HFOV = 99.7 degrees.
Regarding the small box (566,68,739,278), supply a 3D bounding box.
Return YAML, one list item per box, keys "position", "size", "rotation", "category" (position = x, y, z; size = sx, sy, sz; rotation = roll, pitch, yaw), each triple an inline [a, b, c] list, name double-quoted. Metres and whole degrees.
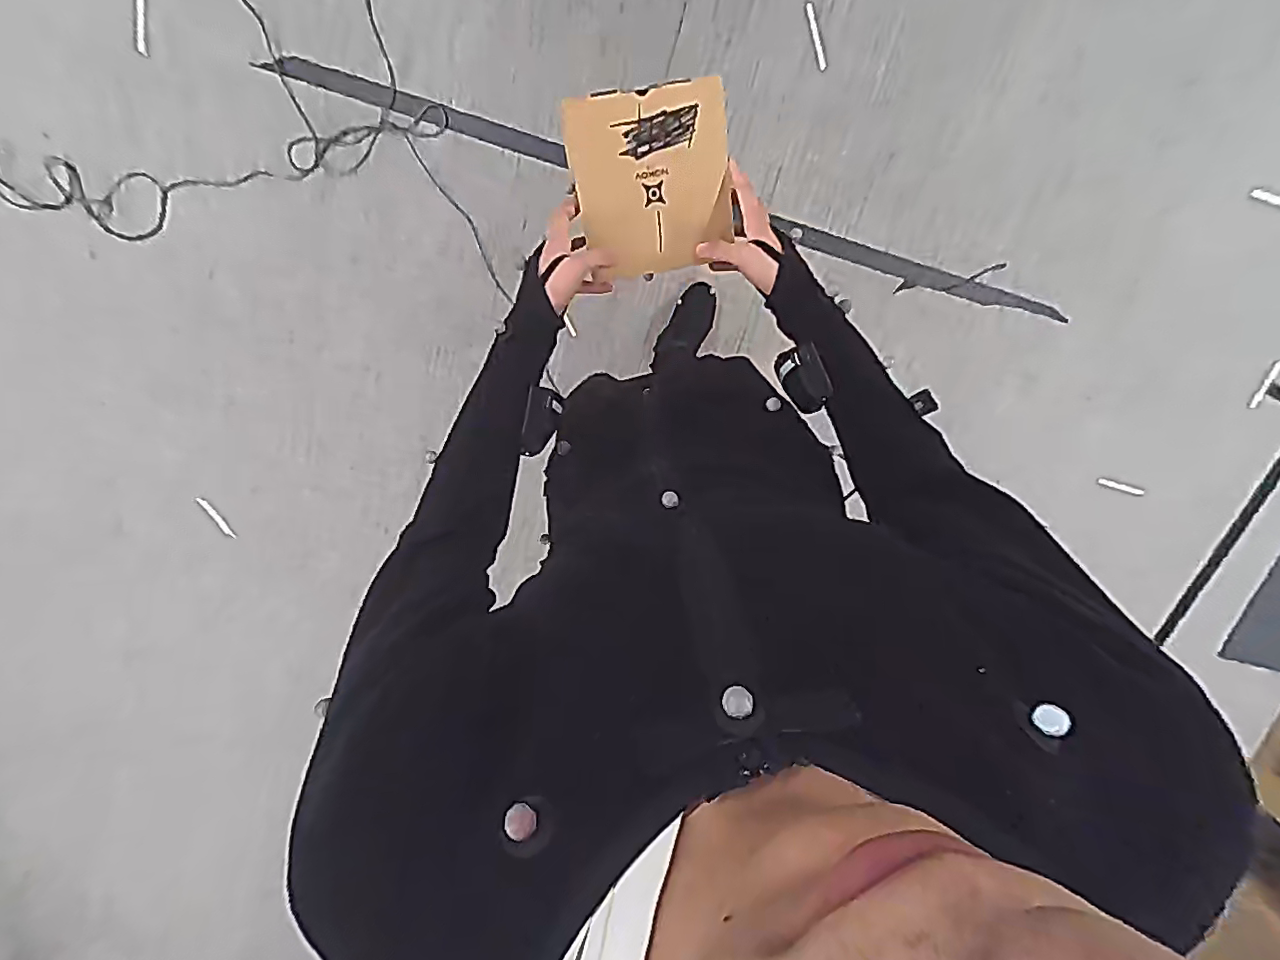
- position: [0.008, -0.343, 0.631]
  size: [0.168, 0.176, 0.179]
  rotation: [-11, 115, -2]
  category: "small box"
